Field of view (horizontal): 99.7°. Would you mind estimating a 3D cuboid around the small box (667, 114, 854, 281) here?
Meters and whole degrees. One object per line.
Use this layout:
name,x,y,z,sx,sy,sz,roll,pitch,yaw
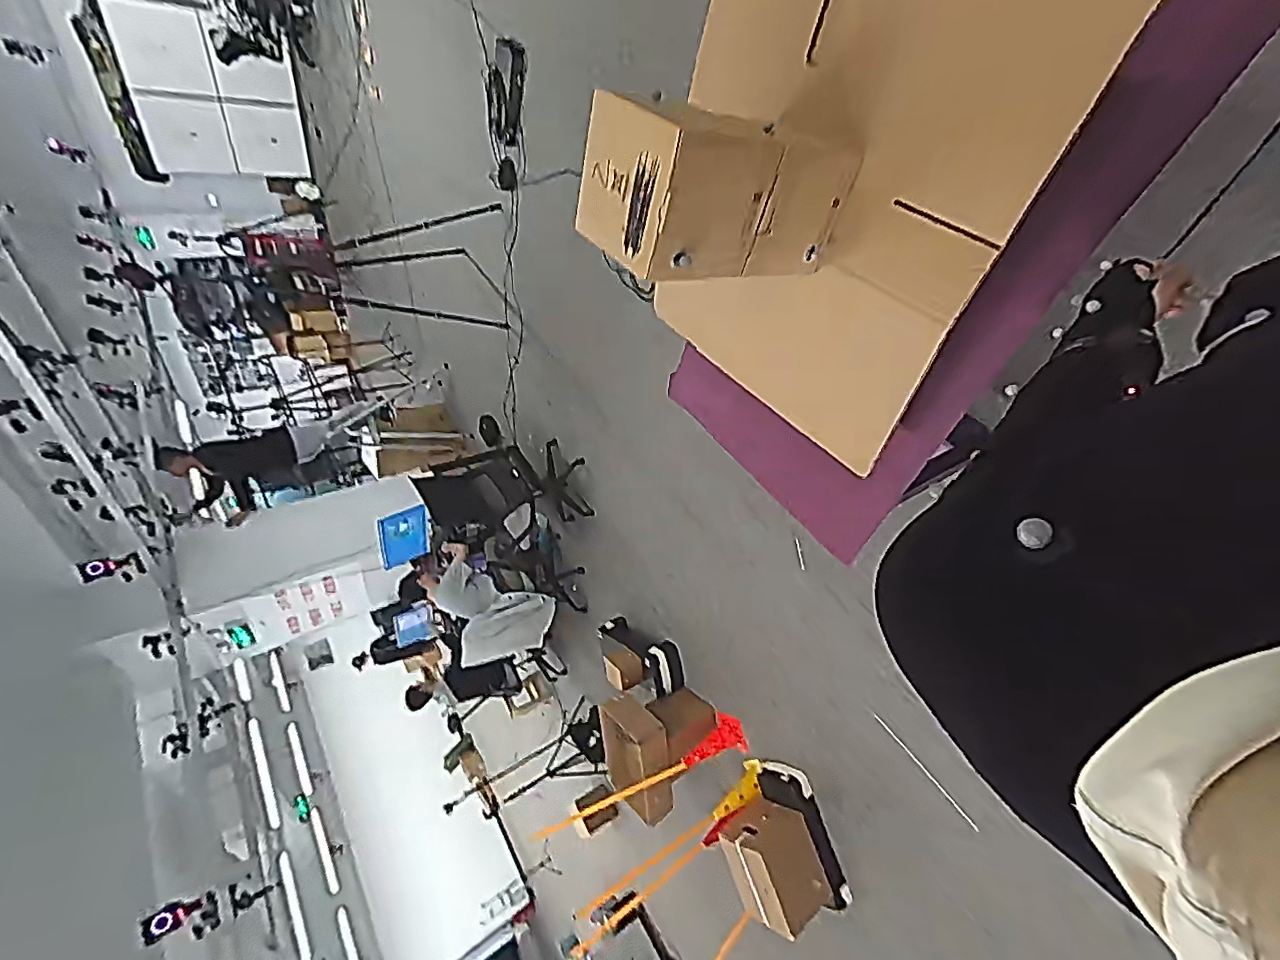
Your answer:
small box,0.172,-0.409,0.788,0.179,0.176,0.168,48,139,33
